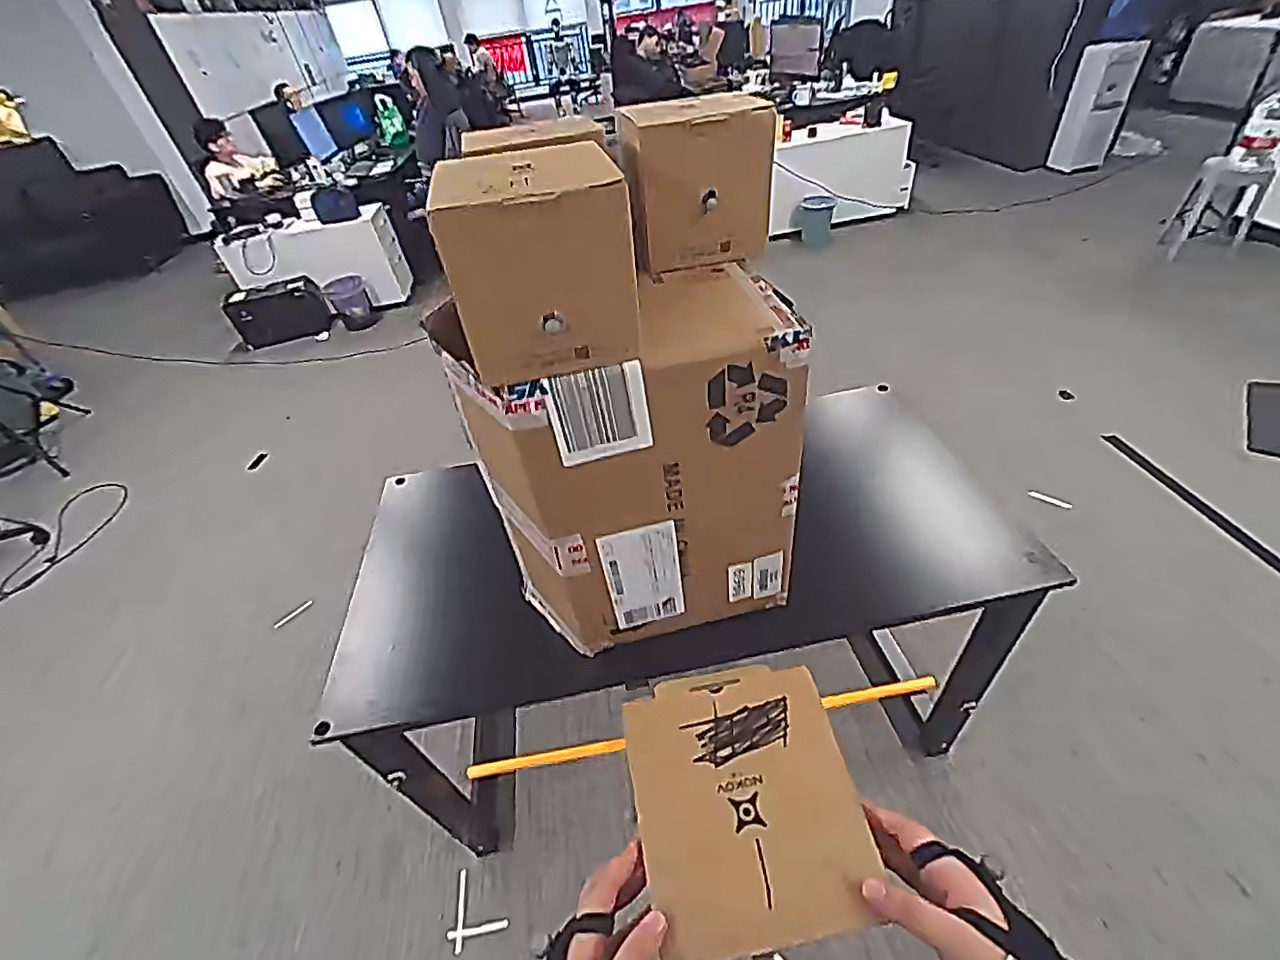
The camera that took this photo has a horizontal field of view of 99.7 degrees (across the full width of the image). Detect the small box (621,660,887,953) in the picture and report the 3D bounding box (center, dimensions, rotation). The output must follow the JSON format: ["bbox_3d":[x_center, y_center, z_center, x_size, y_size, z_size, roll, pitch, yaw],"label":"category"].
[{"bbox_3d":[0.080,0.287,0.477,0.168,0.176,0.179,-10,51,-3],"label":"small box"}]

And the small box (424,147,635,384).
[{"bbox_3d":[-0.105,-0.222,0.556,0.168,0.176,0.179,-12,43,-6],"label":"small box"}]

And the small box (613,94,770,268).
[{"bbox_3d":[0.065,-0.399,0.730,0.168,0.176,0.179,-11,42,-5],"label":"small box"}]
